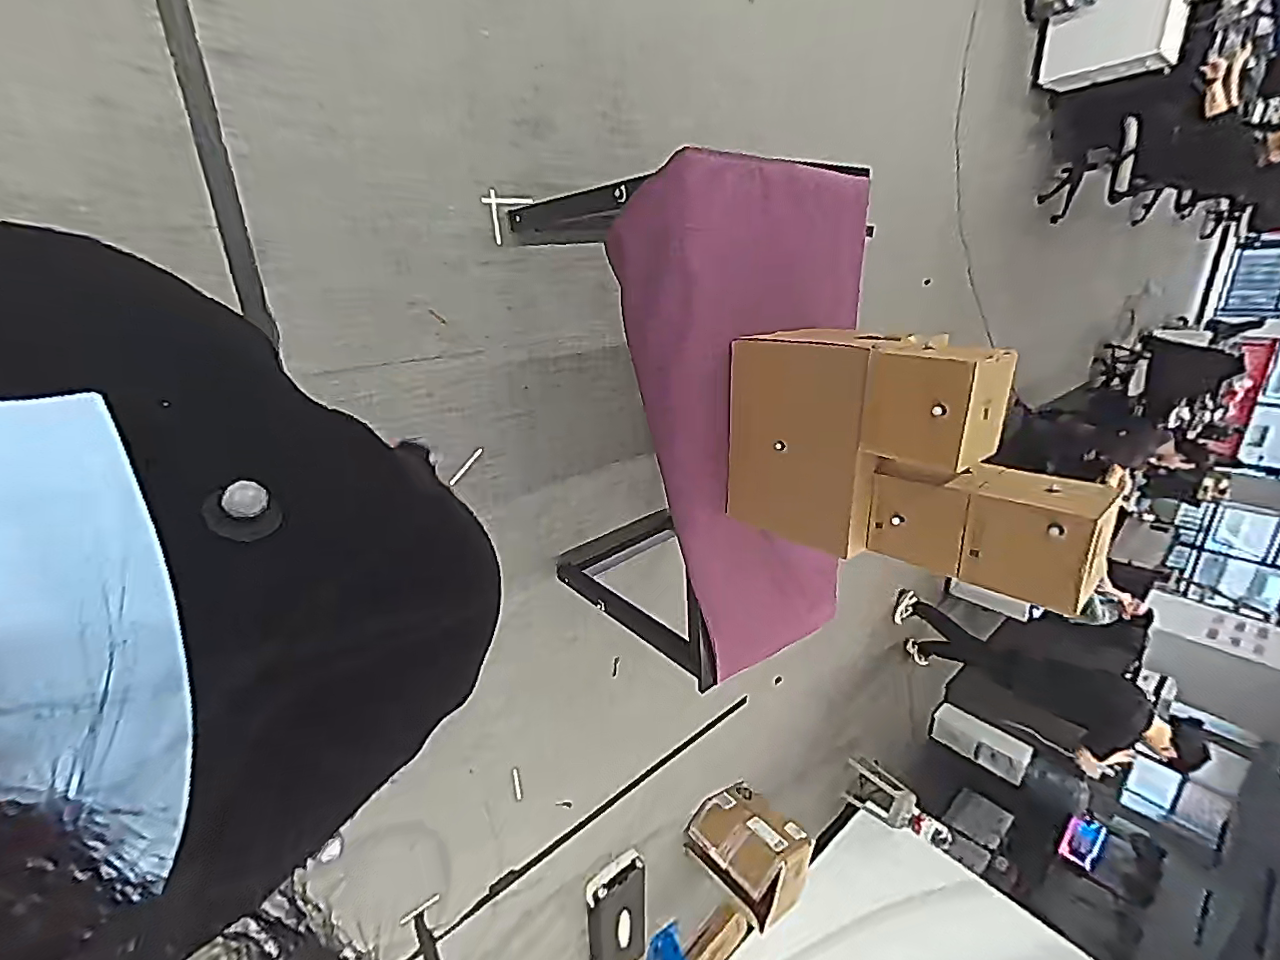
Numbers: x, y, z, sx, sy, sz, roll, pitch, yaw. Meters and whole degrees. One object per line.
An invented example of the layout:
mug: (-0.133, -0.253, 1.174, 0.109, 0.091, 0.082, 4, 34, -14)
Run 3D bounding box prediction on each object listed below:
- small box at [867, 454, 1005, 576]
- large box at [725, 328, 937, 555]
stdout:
small box: (0.561, 0.055, 1.032, 0.179, 0.176, 0.168, -18, 114, -37)
large box: (0.399, -0.109, 1.173, 0.320, 0.320, 0.408, -19, 115, -38)
